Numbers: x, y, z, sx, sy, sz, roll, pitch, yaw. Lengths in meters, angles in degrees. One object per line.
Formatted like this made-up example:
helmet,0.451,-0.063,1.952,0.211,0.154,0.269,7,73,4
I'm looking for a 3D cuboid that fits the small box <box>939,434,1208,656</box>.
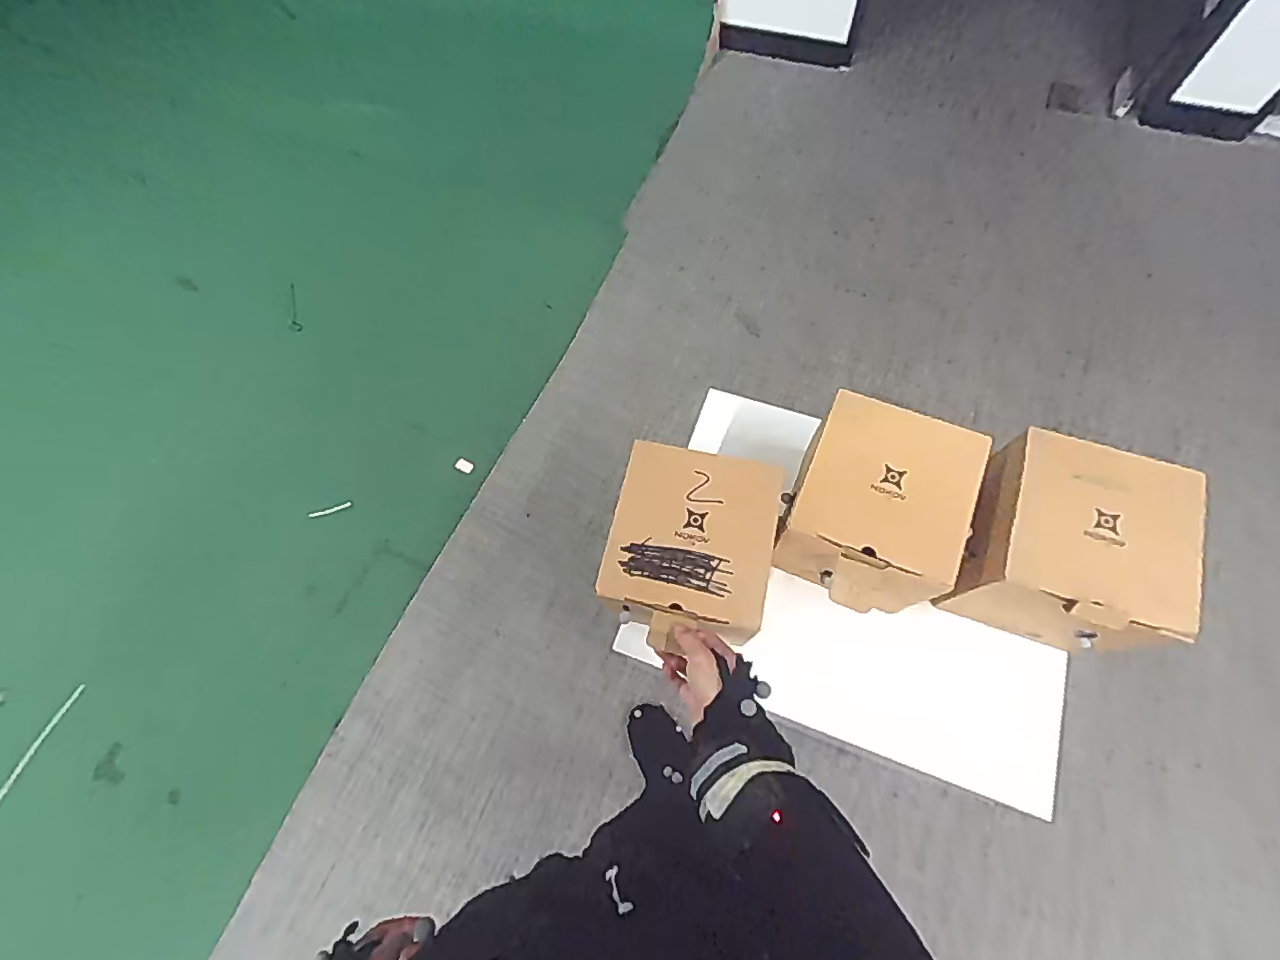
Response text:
small box,0.456,0.081,0.594,0.168,0.176,0.179,18,70,11
